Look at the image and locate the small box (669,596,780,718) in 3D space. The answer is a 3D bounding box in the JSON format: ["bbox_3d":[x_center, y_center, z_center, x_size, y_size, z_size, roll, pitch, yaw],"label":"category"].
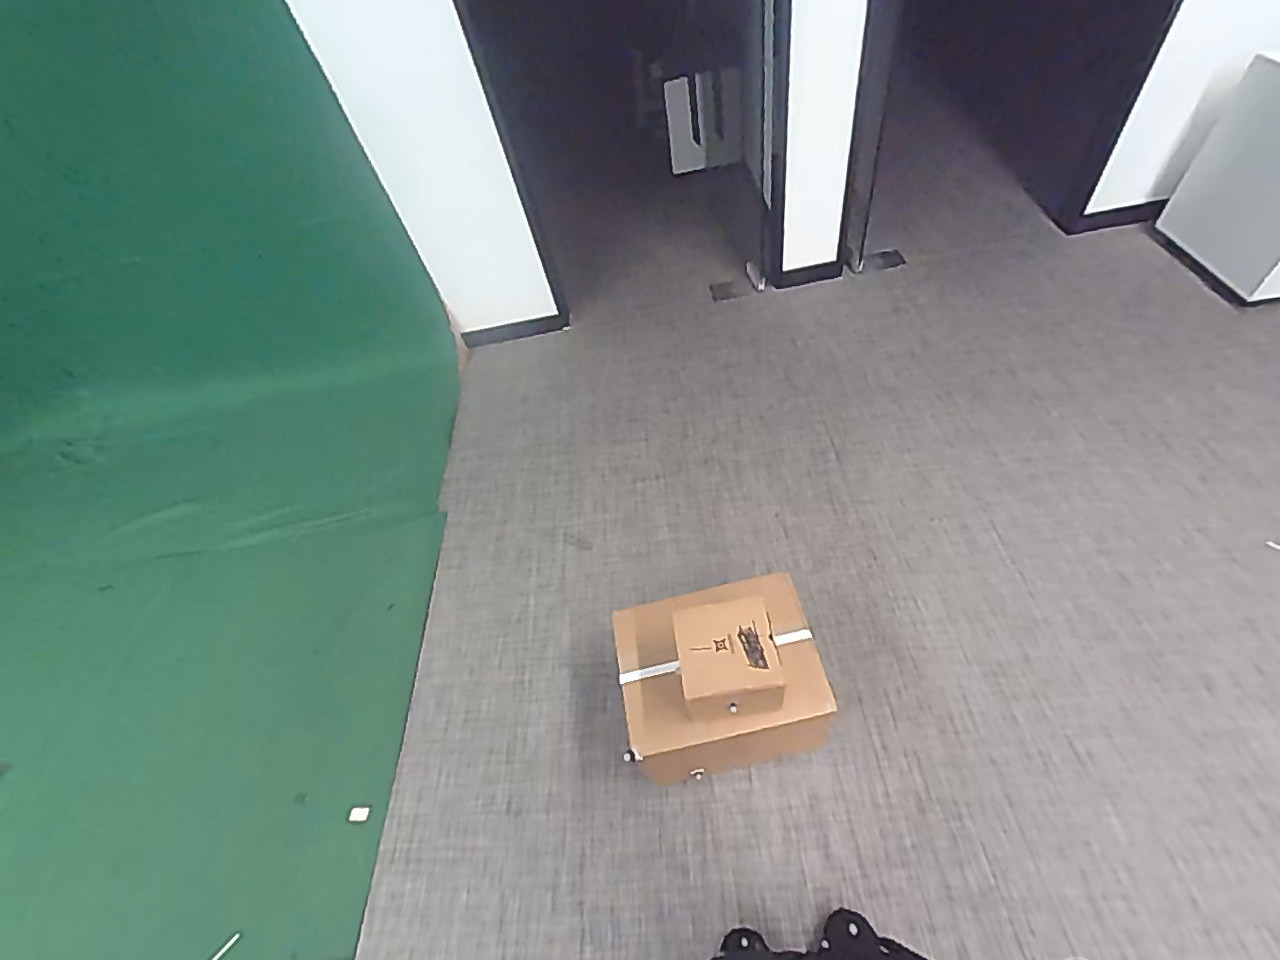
[{"bbox_3d":[0.160,0.344,1.038,0.179,0.176,0.168,-11,52,5],"label":"small box"}]
